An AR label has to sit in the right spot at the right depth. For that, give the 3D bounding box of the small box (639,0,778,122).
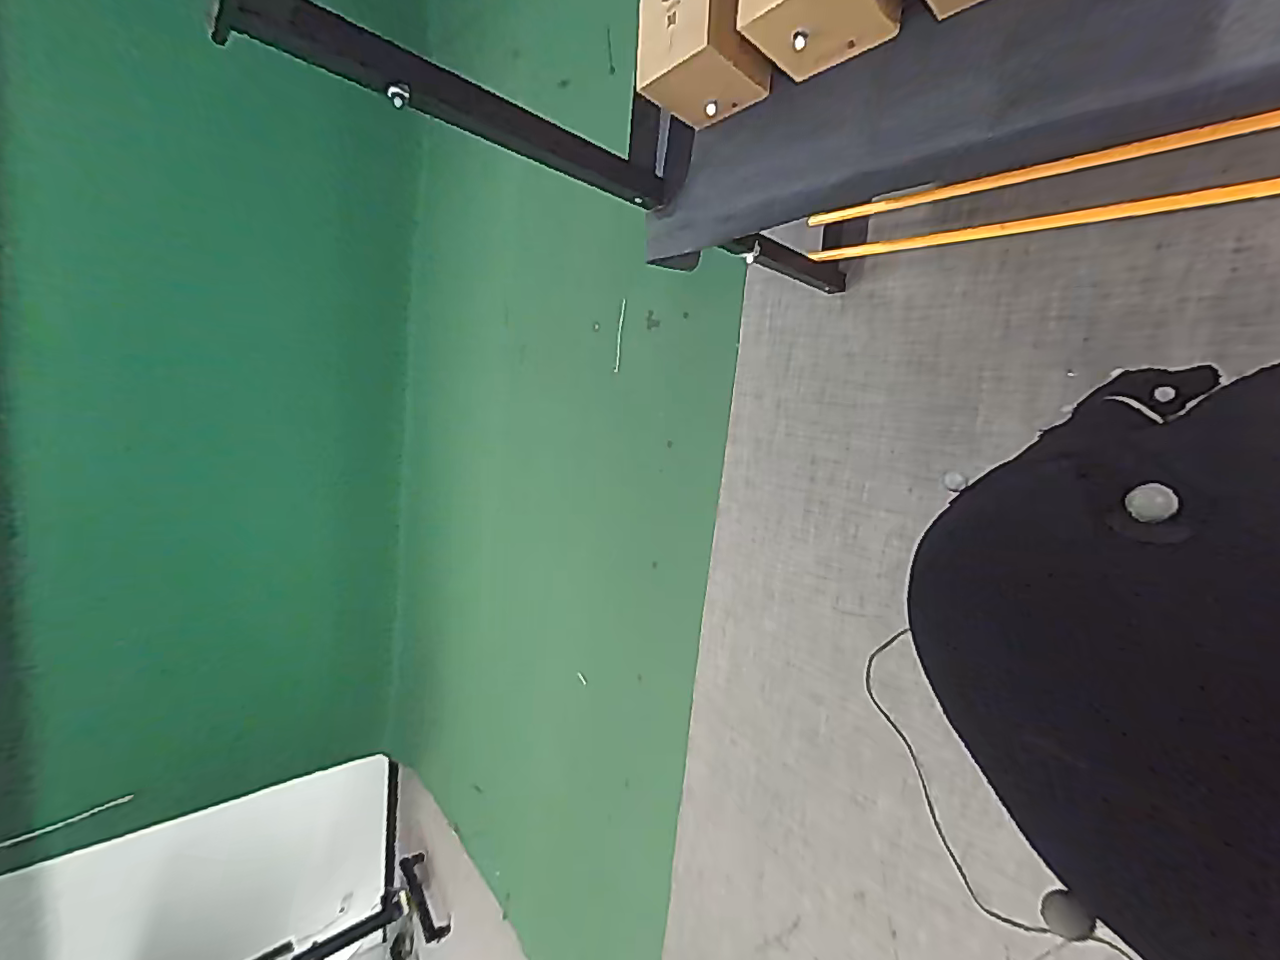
[{"bbox_3d":[0.118,-0.763,0.926,0.168,0.176,0.179,9,98,48],"label":"small box"}]
